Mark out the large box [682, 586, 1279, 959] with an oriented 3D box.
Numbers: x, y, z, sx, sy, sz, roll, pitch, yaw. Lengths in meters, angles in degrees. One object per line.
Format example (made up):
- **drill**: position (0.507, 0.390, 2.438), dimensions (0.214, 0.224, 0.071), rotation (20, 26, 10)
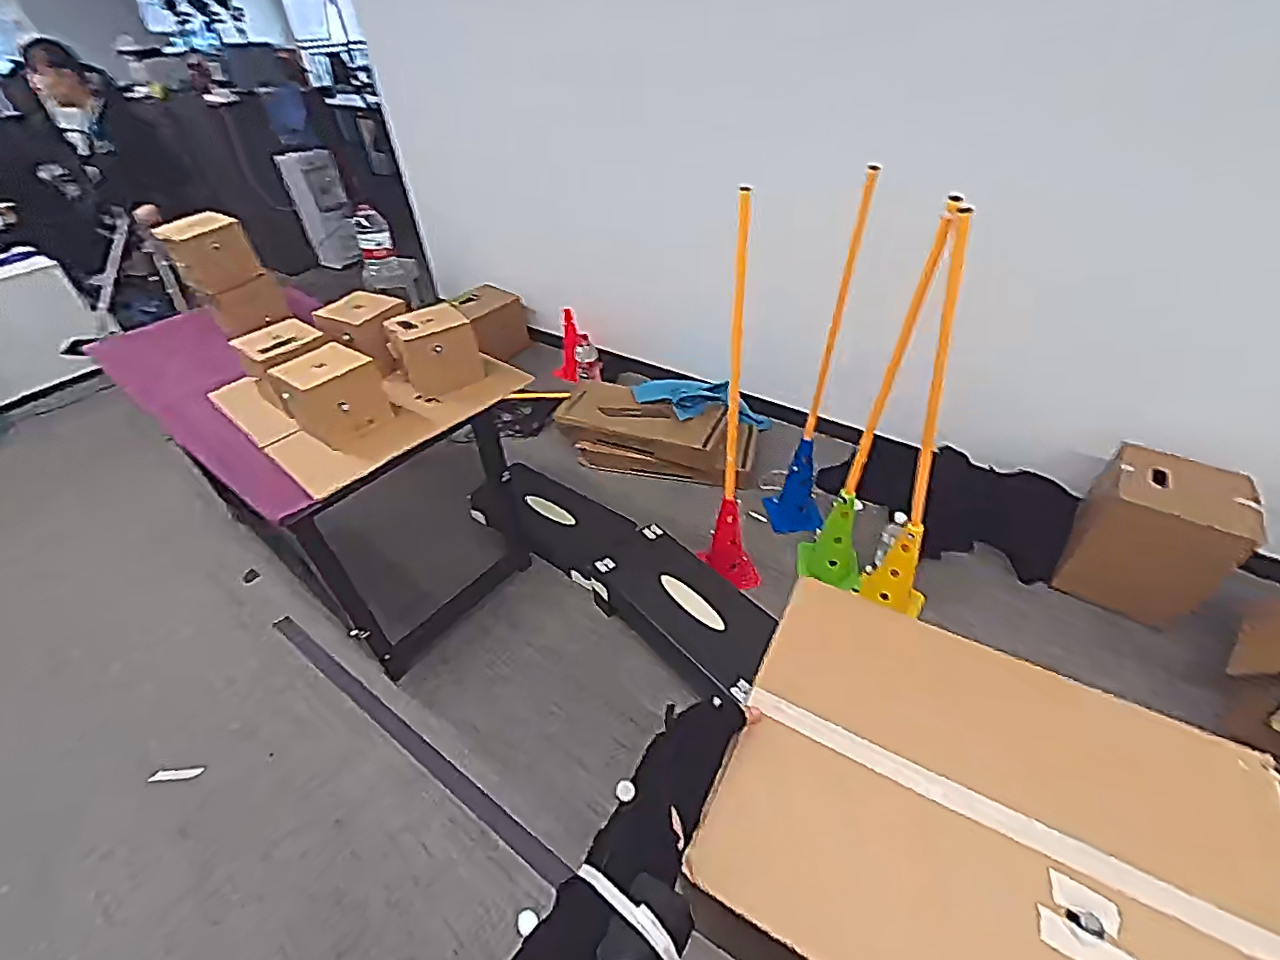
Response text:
- **large box**: position (0.285, 0.380, 0.557), dimensions (0.408, 0.320, 0.320), rotation (20, 52, 22)
